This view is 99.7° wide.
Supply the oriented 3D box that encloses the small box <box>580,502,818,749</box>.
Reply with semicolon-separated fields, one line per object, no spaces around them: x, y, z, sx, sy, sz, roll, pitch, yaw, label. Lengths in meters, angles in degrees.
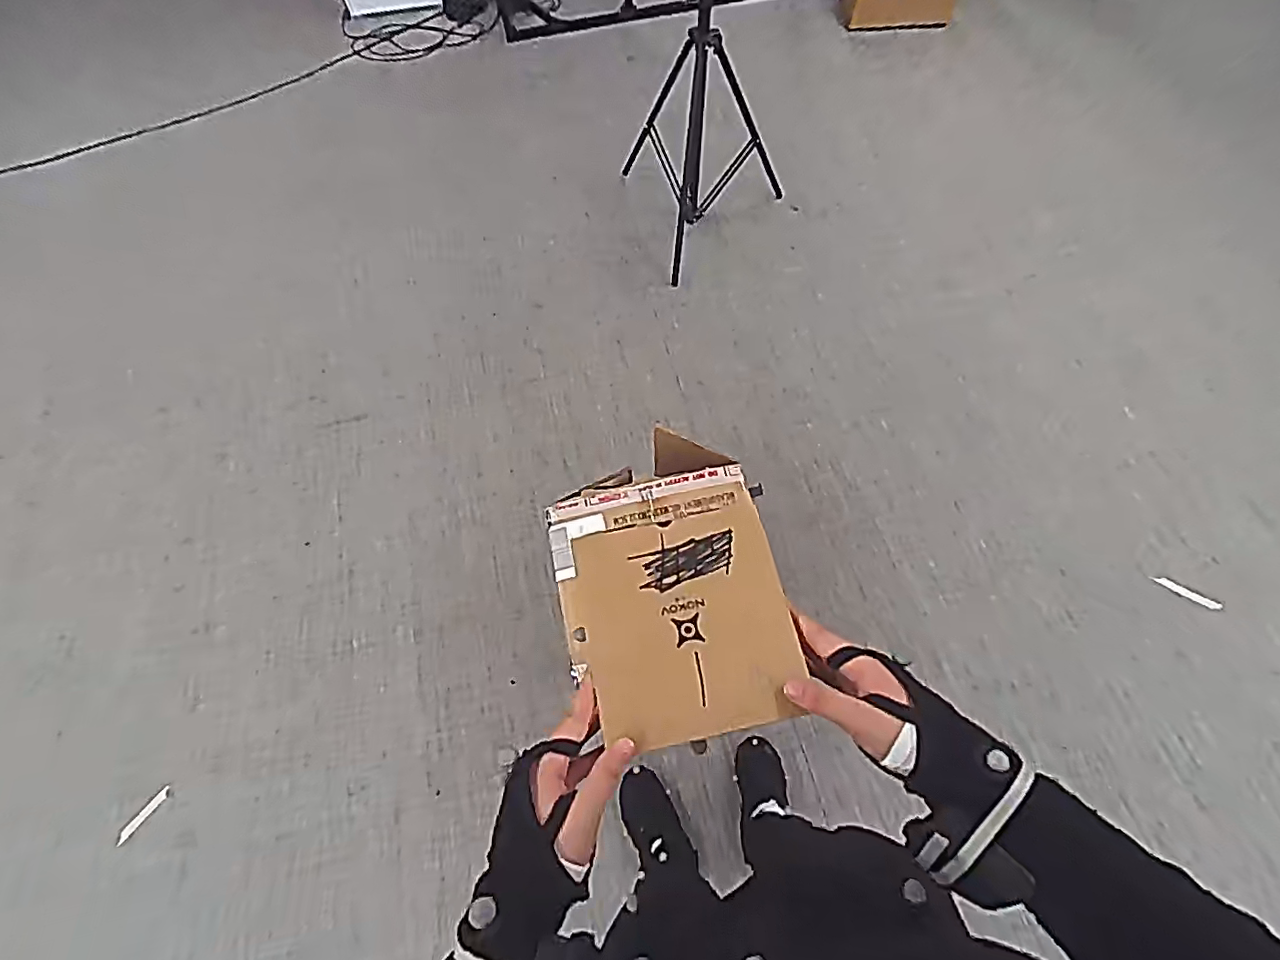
0.042;0.142;0.515;0.168;0.176;0.179;-11;67;-3;small box
